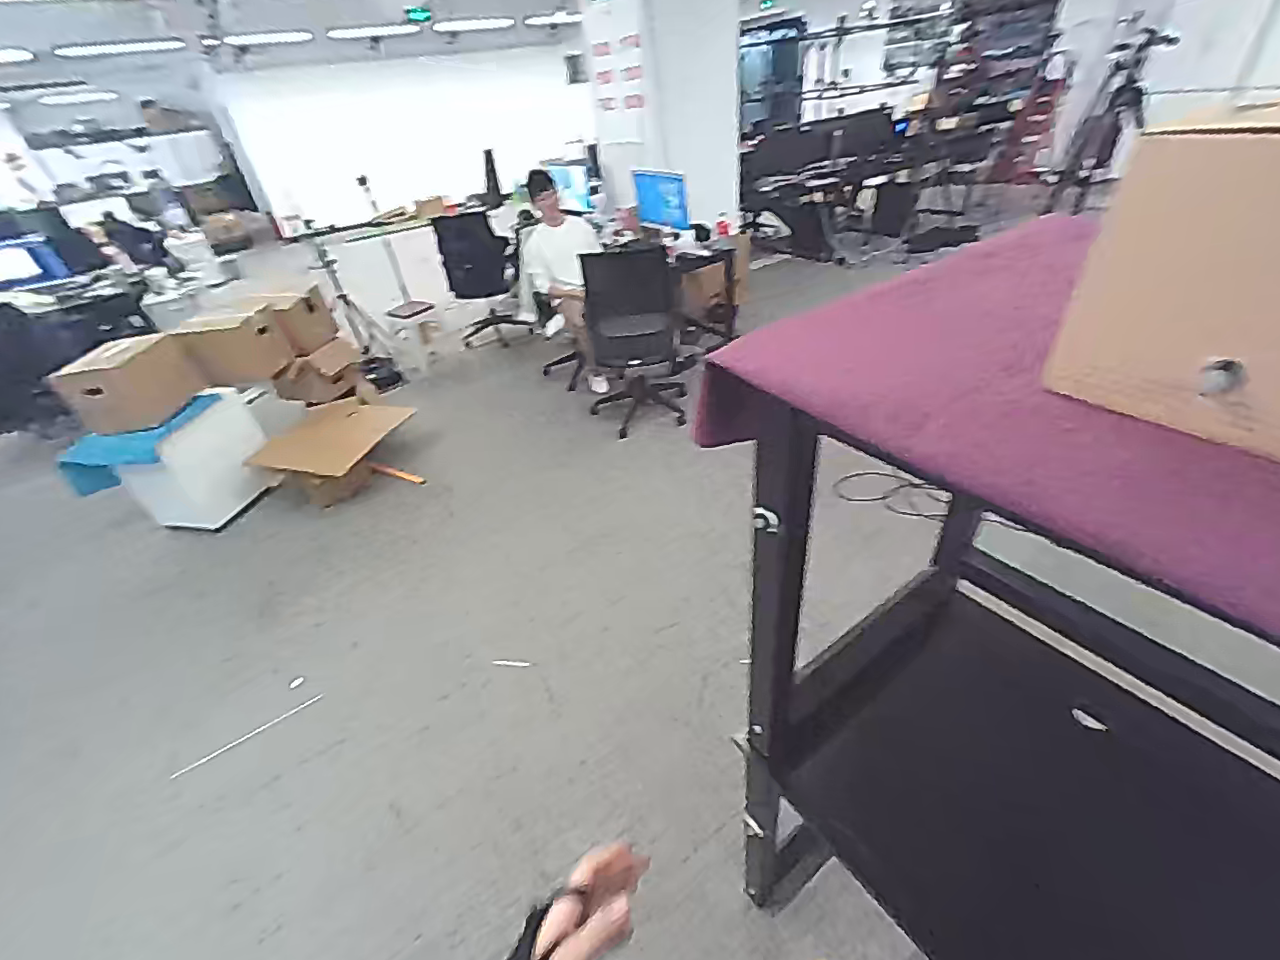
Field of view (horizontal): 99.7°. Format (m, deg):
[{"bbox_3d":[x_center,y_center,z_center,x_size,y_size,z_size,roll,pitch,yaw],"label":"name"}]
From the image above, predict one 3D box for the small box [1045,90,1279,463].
[{"bbox_3d":[0.402,-0.125,0.327,0.168,0.176,0.179,-26,41,-24],"label":"small box"}]
